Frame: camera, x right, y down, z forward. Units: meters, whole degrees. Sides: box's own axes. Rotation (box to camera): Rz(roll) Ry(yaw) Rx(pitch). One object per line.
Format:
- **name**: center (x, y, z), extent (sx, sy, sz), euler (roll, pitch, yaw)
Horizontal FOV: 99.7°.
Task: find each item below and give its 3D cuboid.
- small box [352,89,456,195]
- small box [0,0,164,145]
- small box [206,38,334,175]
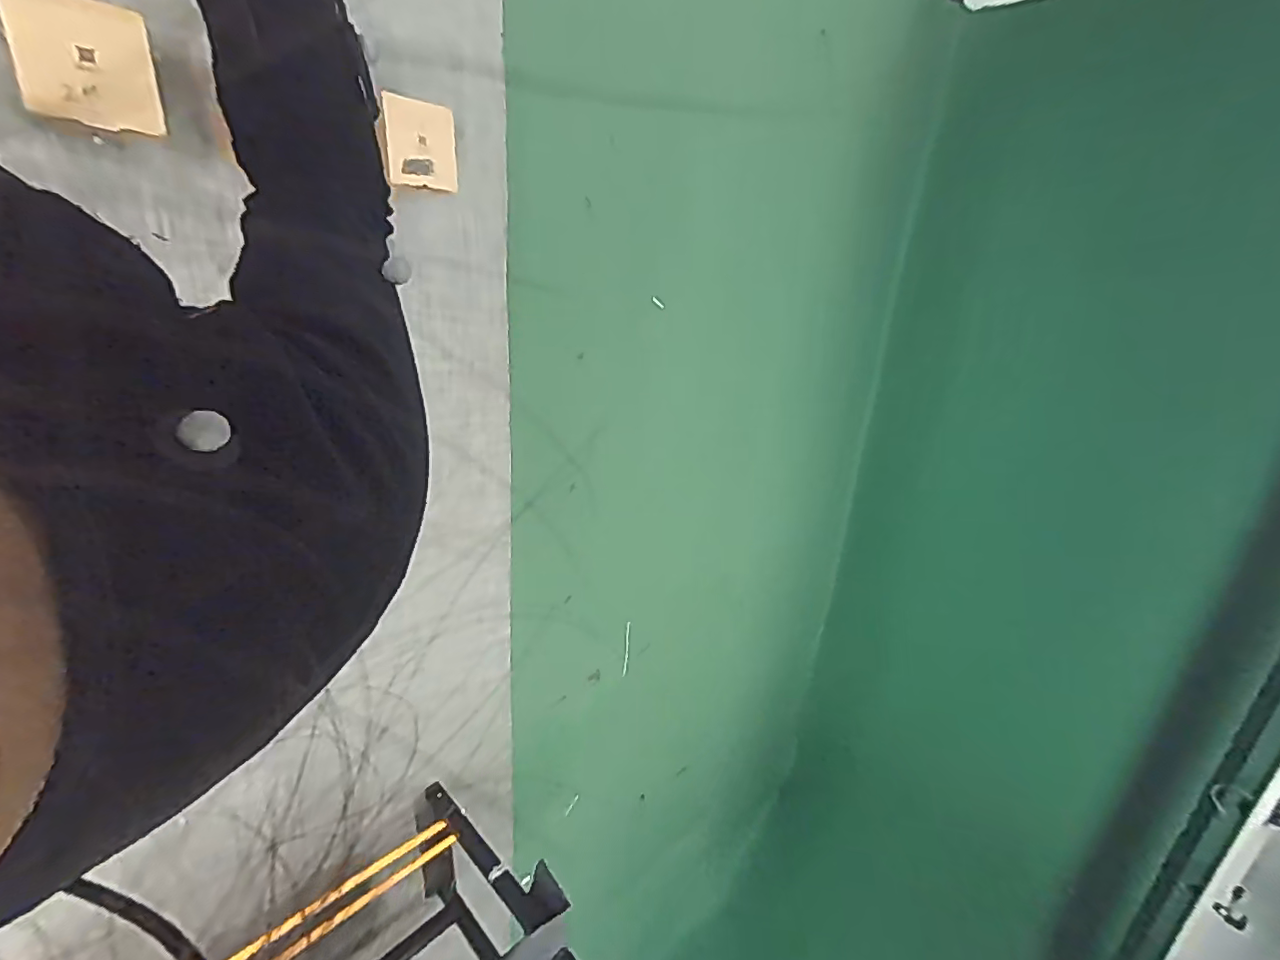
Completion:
- **small box**: center (-0.551, -0.777, 1.265), extent (0.168, 0.176, 0.179), euler (-18, 119, -44)
- **small box**: center (-0.915, -0.674, 0.884), extent (0.168, 0.176, 0.179), euler (-16, 118, -43)
- **small box**: center (-0.734, -0.726, 1.075), extent (0.168, 0.176, 0.179), euler (-14, 117, -46)
